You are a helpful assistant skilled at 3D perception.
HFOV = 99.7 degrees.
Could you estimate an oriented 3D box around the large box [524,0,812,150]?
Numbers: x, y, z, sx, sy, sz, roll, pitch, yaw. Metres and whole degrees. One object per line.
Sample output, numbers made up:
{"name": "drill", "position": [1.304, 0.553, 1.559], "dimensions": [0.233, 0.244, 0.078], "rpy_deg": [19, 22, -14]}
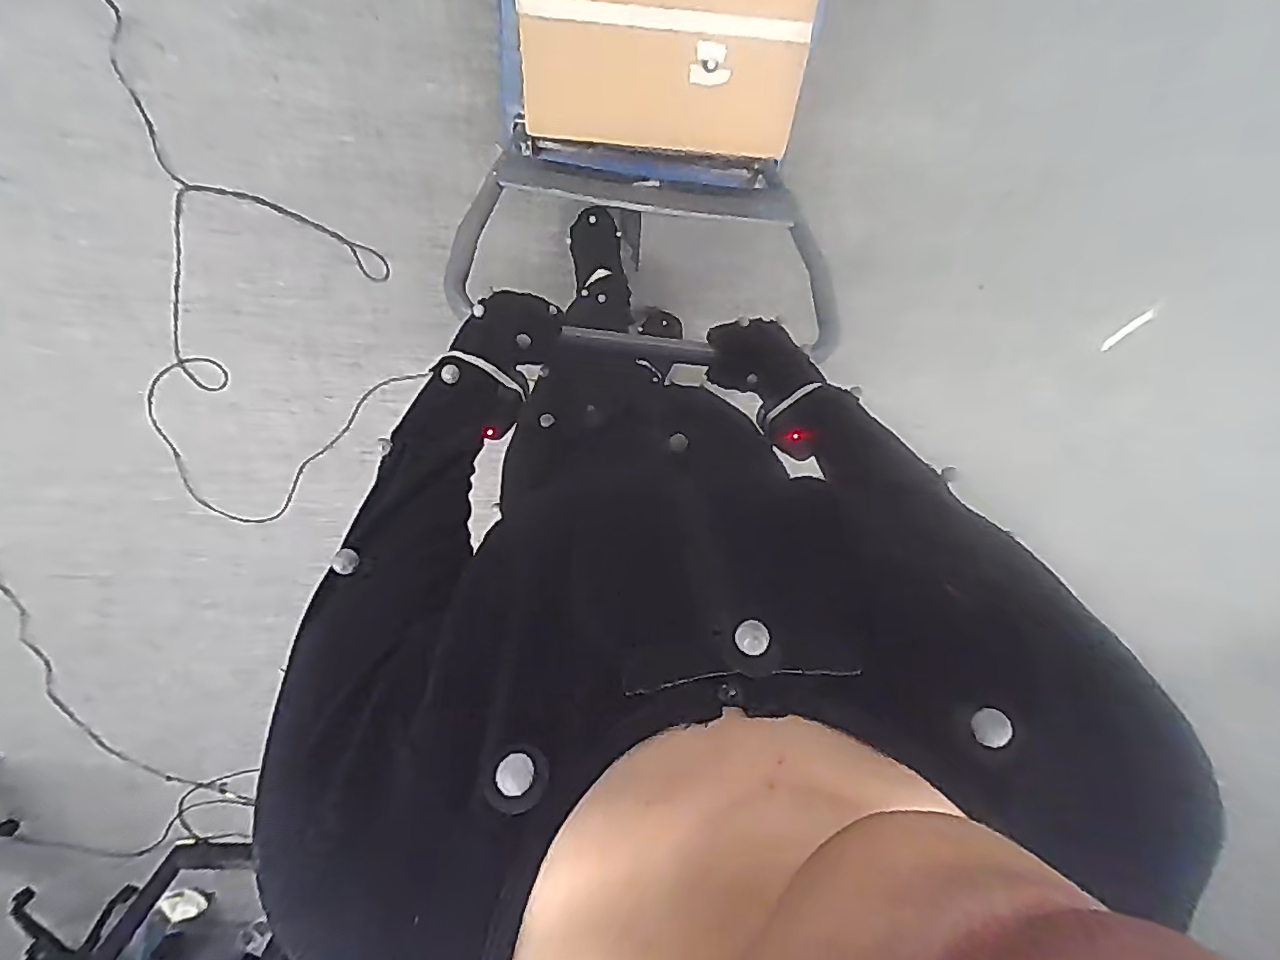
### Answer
{"name": "large box", "position": [0.033, -0.746, 0.859], "dimensions": [0.408, 0.320, 0.320], "rpy_deg": [3, 134, -4]}
